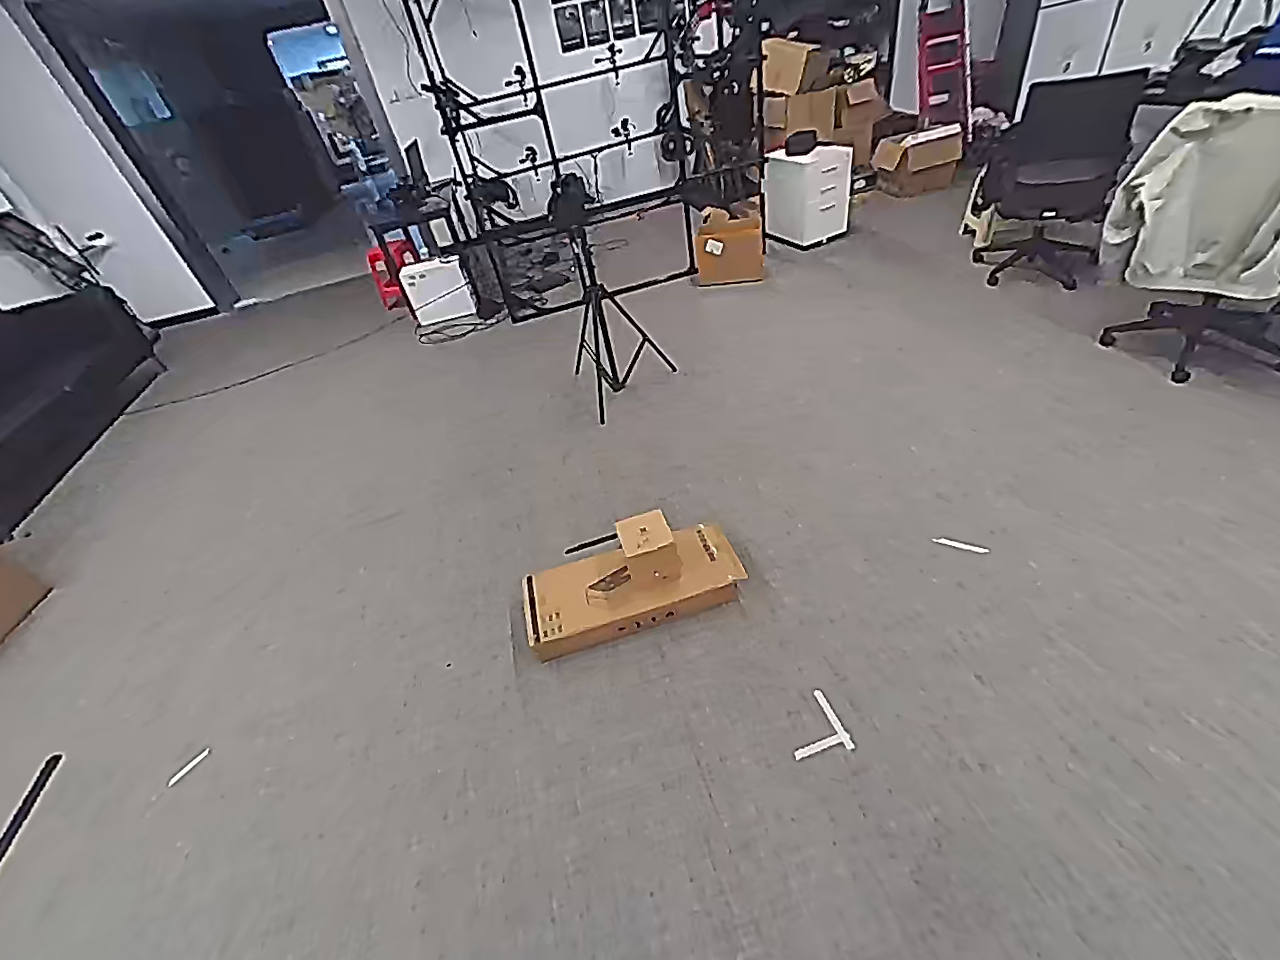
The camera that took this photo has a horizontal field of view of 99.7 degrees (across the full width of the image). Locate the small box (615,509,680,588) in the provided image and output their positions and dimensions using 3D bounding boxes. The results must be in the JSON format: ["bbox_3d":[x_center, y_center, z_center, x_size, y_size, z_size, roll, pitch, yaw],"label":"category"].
[{"bbox_3d":[0.026,0.232,1.821,0.168,0.176,0.179,-18,39,-5],"label":"small box"}]
